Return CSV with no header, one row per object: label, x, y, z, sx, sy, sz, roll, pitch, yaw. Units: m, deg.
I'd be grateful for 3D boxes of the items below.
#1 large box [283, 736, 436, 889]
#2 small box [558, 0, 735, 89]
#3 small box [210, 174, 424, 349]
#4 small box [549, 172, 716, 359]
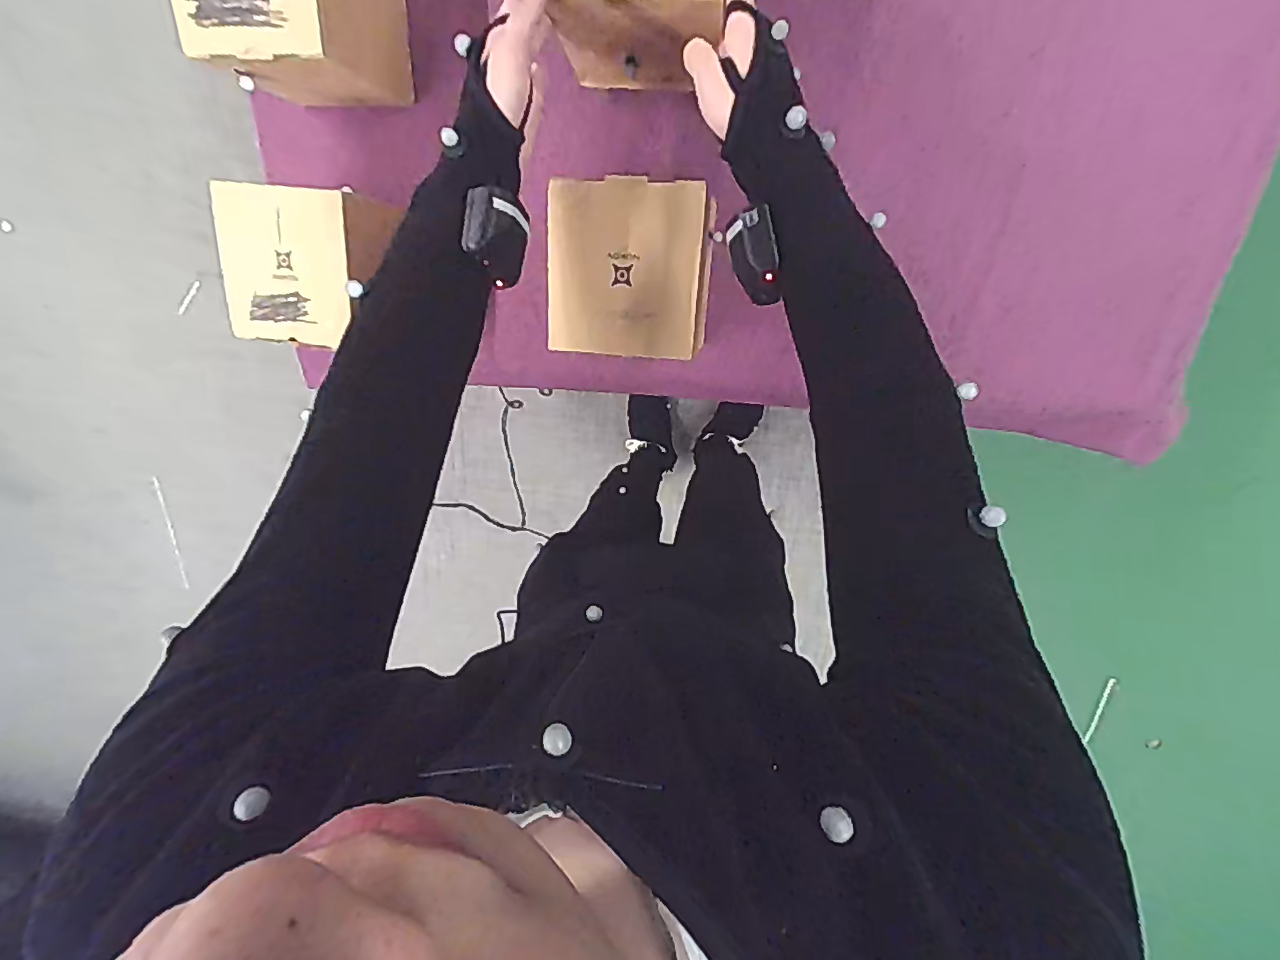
large box,-1.105,1.311,2.154,0.408,0.320,0.320,28,113,-2
small box,0.012,-0.513,0.513,0.168,0.176,0.179,7,105,5
small box,-0.397,-0.276,0.699,0.168,0.176,0.179,9,110,6
small box,-0.002,-0.248,0.643,0.168,0.176,0.179,7,111,8
